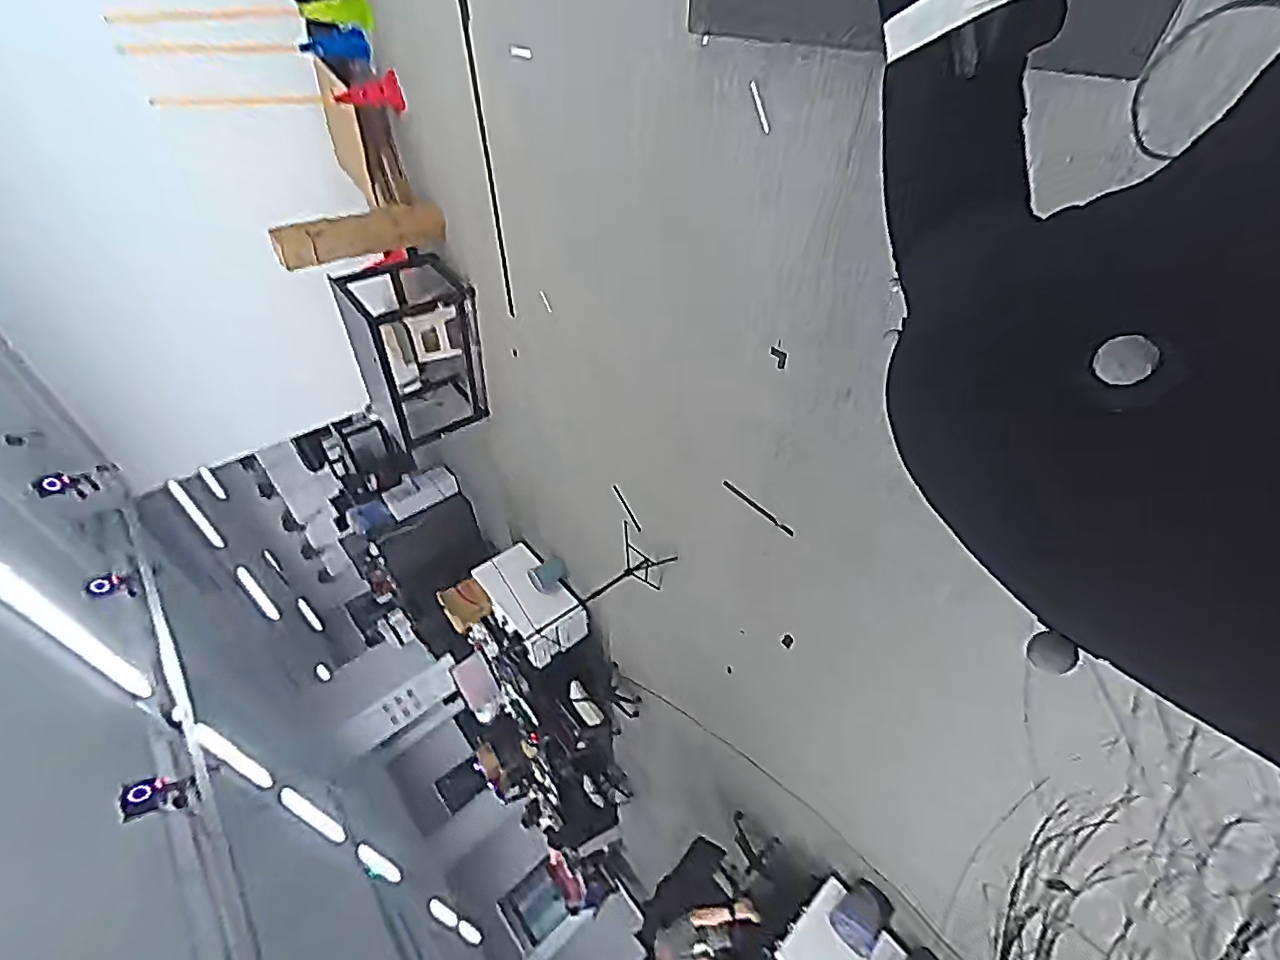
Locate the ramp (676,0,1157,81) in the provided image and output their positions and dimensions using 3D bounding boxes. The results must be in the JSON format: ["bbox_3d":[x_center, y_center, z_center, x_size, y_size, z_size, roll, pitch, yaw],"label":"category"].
[{"bbox_3d":[0.503,-1.140,1.055,0.991,0.206,0.509,36,142,32],"label":"ramp"}]
